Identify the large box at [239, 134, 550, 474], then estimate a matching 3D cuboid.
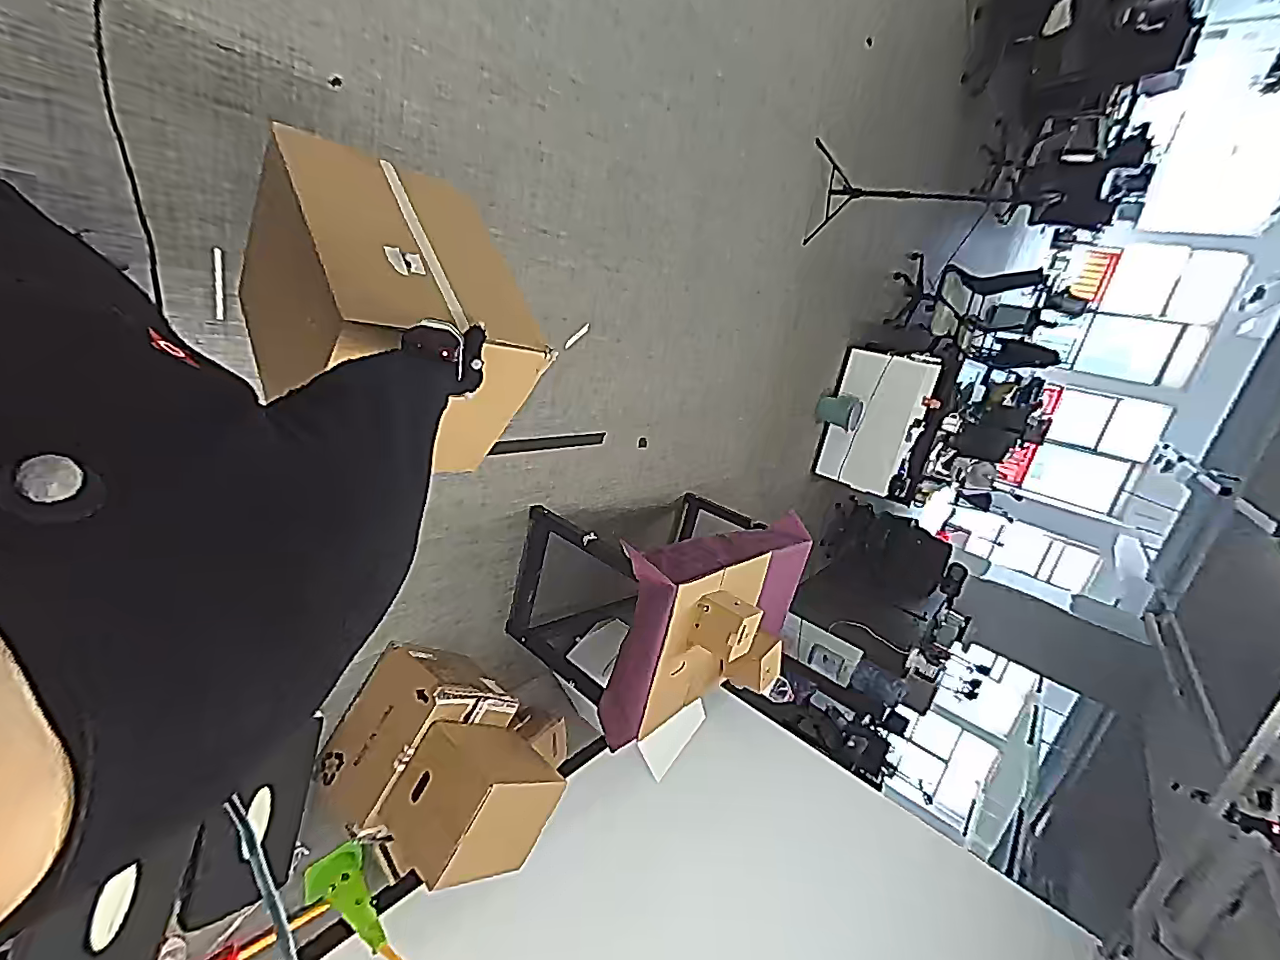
[{"bbox_3d":[-0.425,-0.261,0.909,0.320,0.408,0.320,-5,149,-48],"label":"large box"}]
